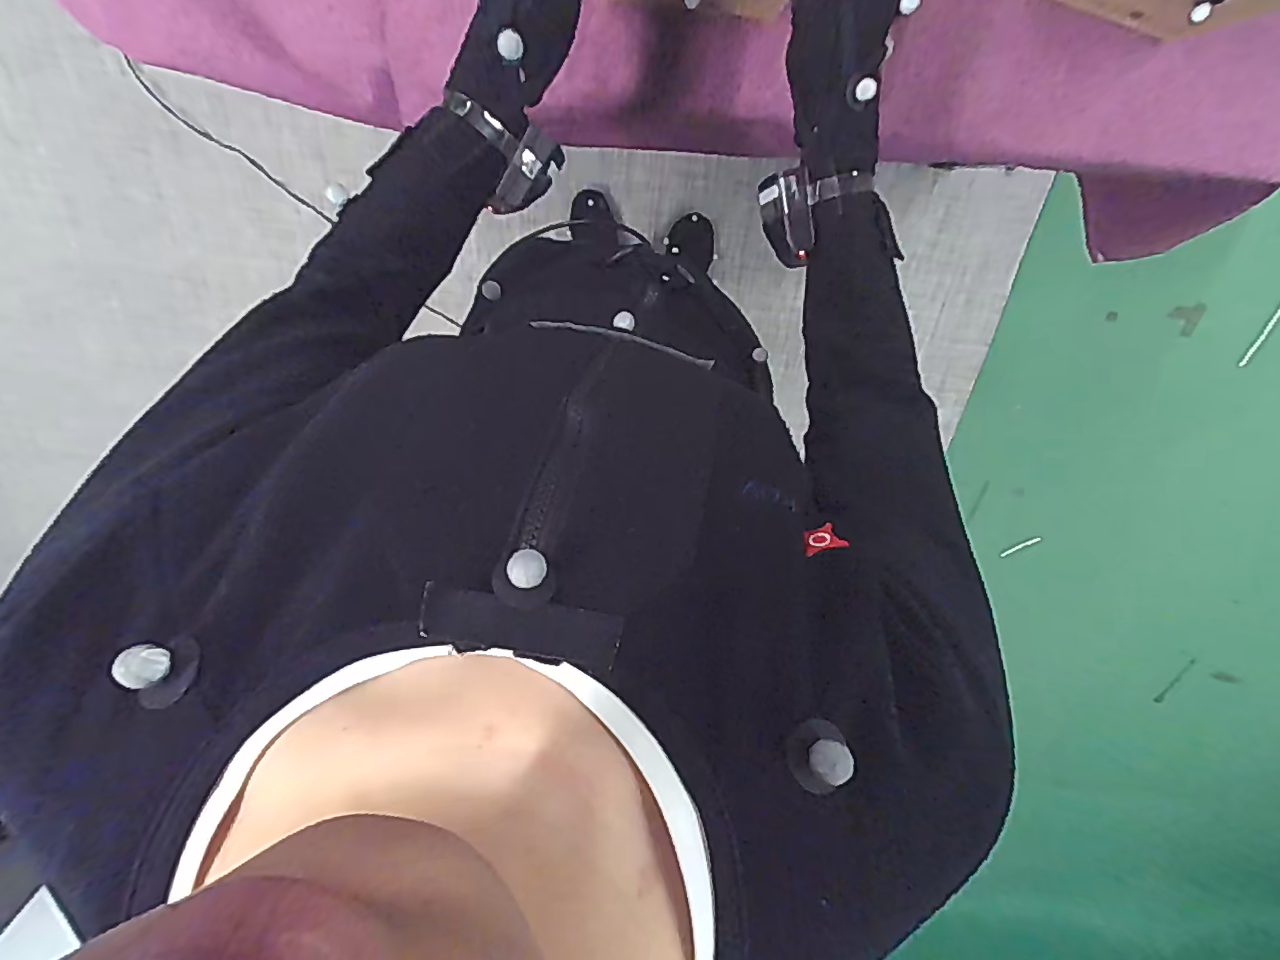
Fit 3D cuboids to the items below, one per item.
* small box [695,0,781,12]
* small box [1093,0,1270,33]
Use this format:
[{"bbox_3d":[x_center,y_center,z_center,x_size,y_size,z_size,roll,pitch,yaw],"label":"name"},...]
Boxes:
[{"bbox_3d":[0.056,-0.482,0.399,0.168,0.176,0.179,6,119,-1],"label":"small box"},{"bbox_3d":[0.442,-0.467,0.392,0.168,0.176,0.179,15,118,-6],"label":"small box"}]
